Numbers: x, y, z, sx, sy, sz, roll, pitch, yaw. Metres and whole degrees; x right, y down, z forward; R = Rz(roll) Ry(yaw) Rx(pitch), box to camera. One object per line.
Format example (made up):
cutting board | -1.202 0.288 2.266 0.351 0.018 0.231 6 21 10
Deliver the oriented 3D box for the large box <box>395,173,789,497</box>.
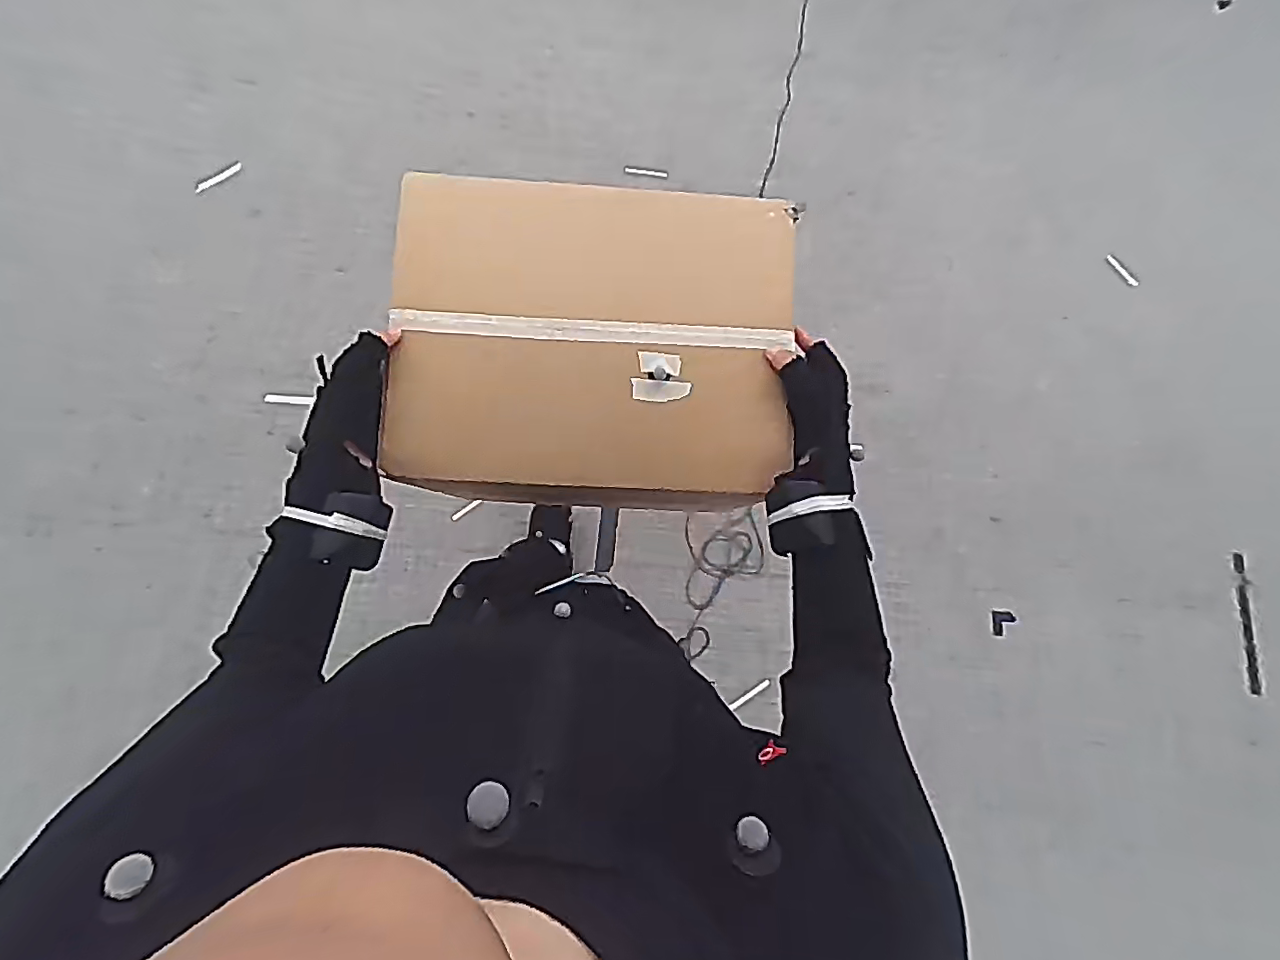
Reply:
large box | -0.052 -0.147 0.706 0.408 0.320 0.320 3 85 -3
